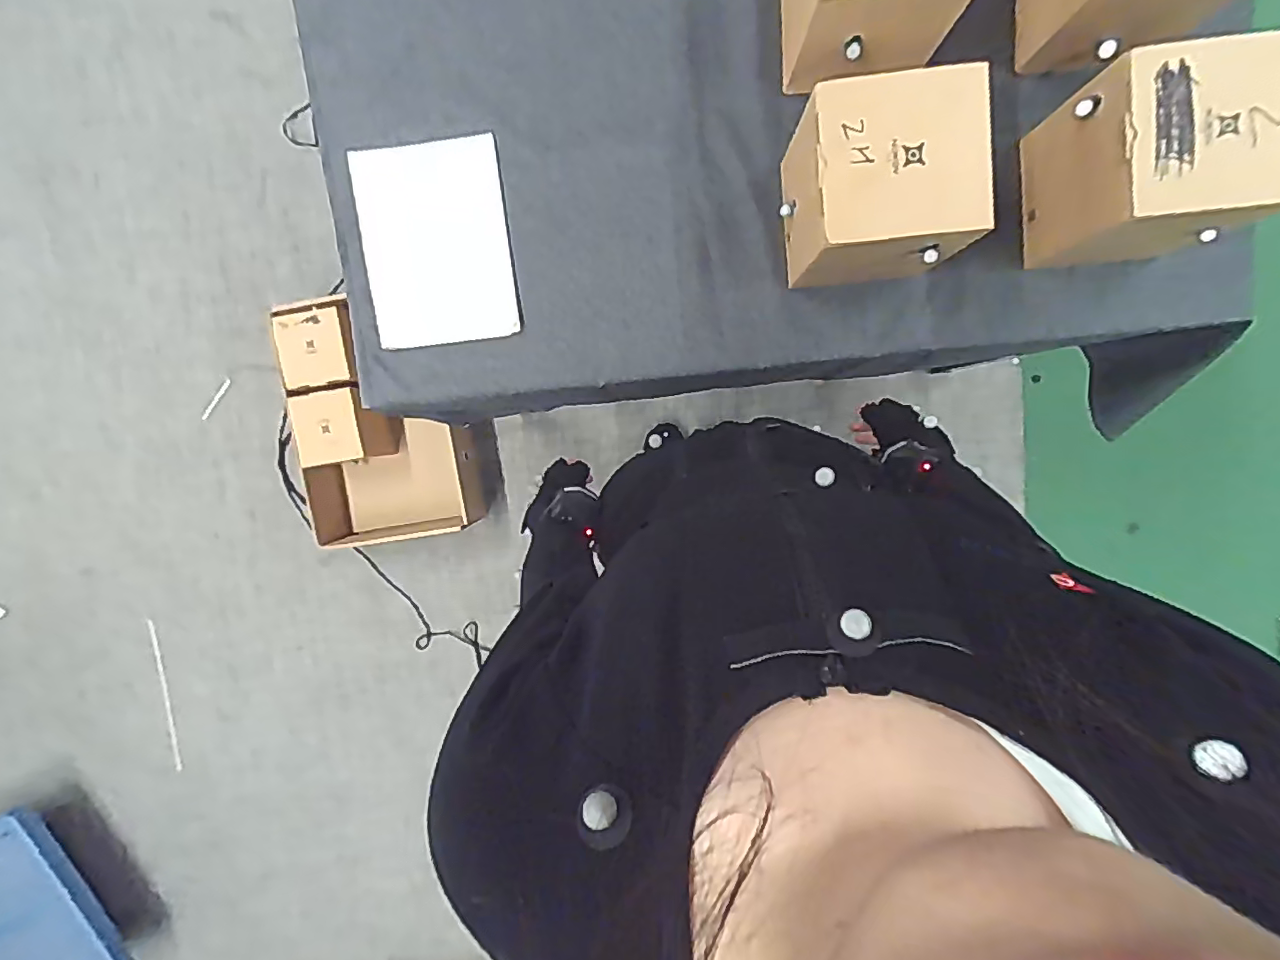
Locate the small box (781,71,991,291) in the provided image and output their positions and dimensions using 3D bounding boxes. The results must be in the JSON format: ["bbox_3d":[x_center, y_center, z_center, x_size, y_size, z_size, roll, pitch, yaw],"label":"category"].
[{"bbox_3d":[0.275,-0.334,0.637,0.179,0.176,0.168,-5,93,4],"label":"small box"}]

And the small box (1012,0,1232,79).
[{"bbox_3d":[0.550,-0.596,0.603,0.168,0.176,0.179,-2,95,4],"label":"small box"}]

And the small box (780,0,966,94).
[{"bbox_3d":[0.261,-0.579,0.622,0.168,0.176,0.179,-2,94,3],"label":"small box"}]
